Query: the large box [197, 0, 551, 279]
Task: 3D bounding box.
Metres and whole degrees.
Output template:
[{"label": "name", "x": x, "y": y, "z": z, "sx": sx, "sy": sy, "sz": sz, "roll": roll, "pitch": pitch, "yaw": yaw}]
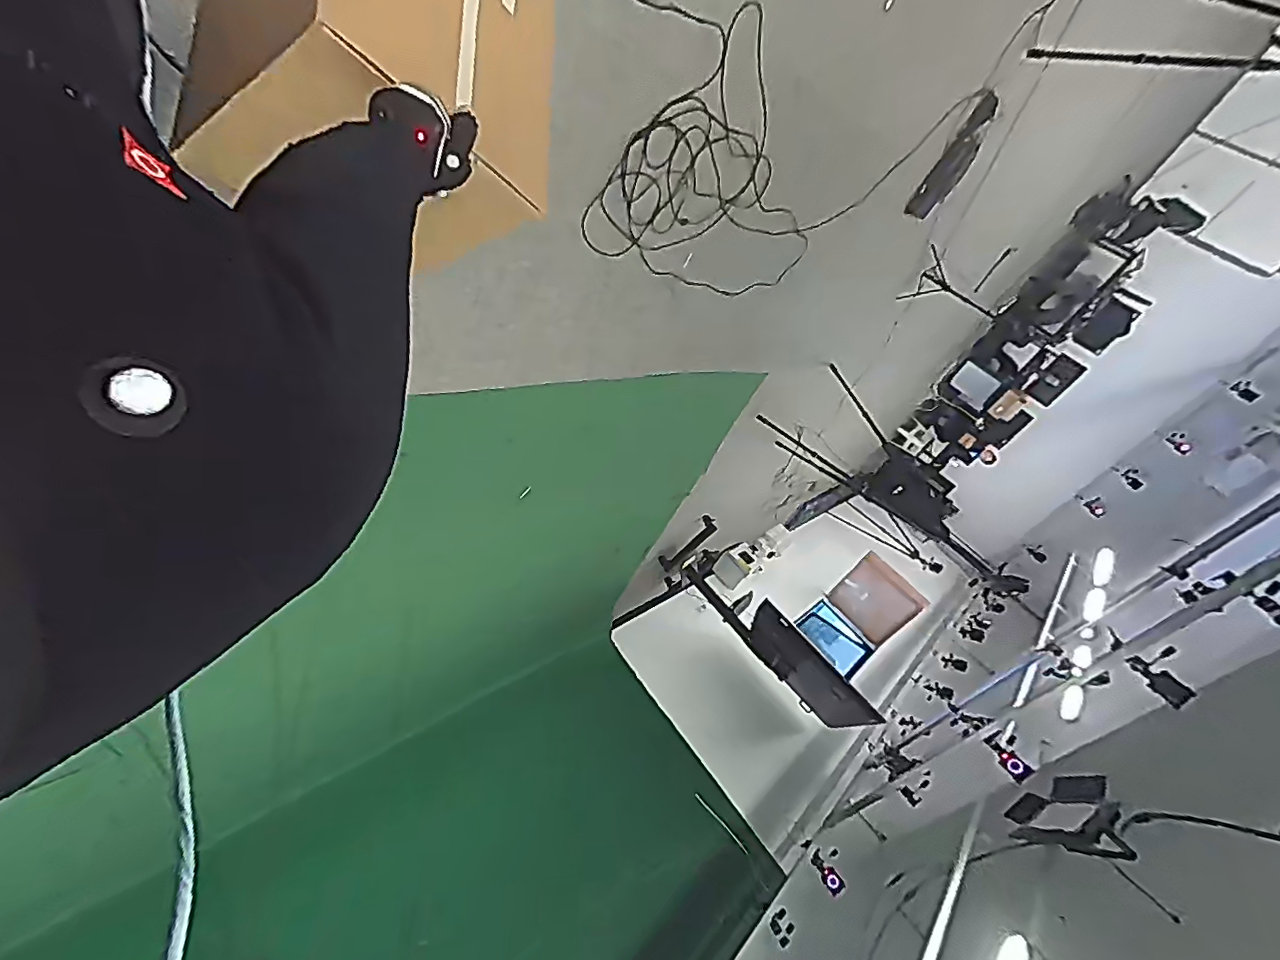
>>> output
[{"label": "large box", "x": -0.338, "y": -0.559, "z": 0.734, "sx": 0.320, "sy": 0.408, "sz": 0.320, "roll": -6, "pitch": 168, "yaw": 30}]
